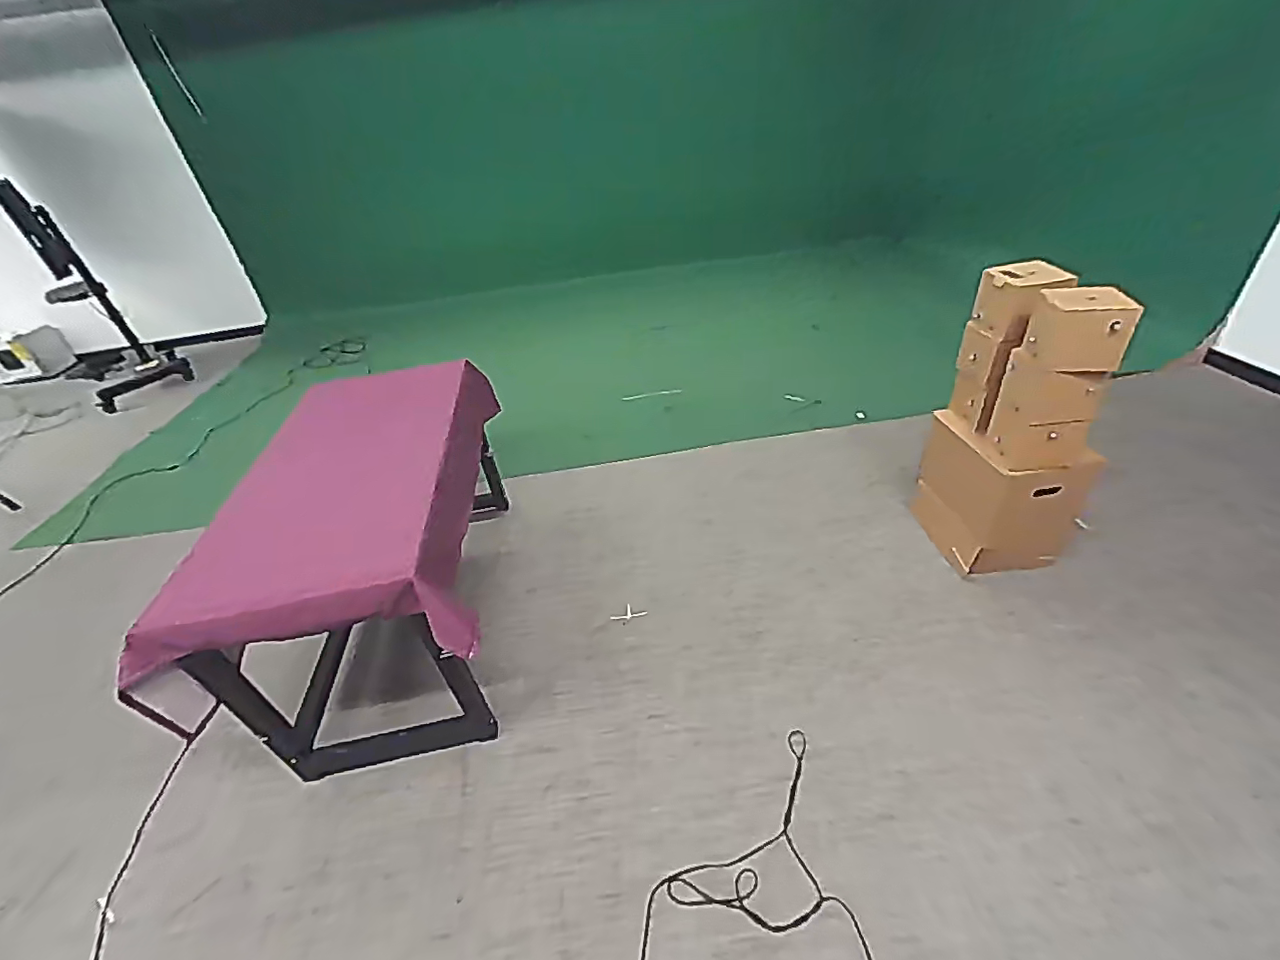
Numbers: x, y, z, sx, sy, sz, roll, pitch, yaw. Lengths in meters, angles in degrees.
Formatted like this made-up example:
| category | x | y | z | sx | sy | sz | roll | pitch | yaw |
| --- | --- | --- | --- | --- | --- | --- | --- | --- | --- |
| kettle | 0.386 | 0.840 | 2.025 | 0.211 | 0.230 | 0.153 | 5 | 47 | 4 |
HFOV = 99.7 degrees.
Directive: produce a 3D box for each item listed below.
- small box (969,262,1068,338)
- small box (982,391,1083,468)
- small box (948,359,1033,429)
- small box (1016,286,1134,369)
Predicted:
| category | x | y | z | sx | sy | sz | roll | pitch | yaw |
| --- | --- | --- | --- | --- | --- | --- | --- | --- | --- |
| small box | 1.137 | -0.546 | 1.646 | 0.179 | 0.176 | 0.168 | -9 | 38 | -2 |
| small box | 1.191 | -0.152 | 1.657 | 0.179 | 0.176 | 0.168 | -6 | 36 | 5 |
| small box | 1.184 | -0.290 | 1.847 | 0.179 | 0.176 | 0.168 | -9 | 38 | 1 |
| small box | 1.153 | -0.406 | 1.449 | 0.179 | 0.176 | 0.168 | 2 | 37 | 14 |
